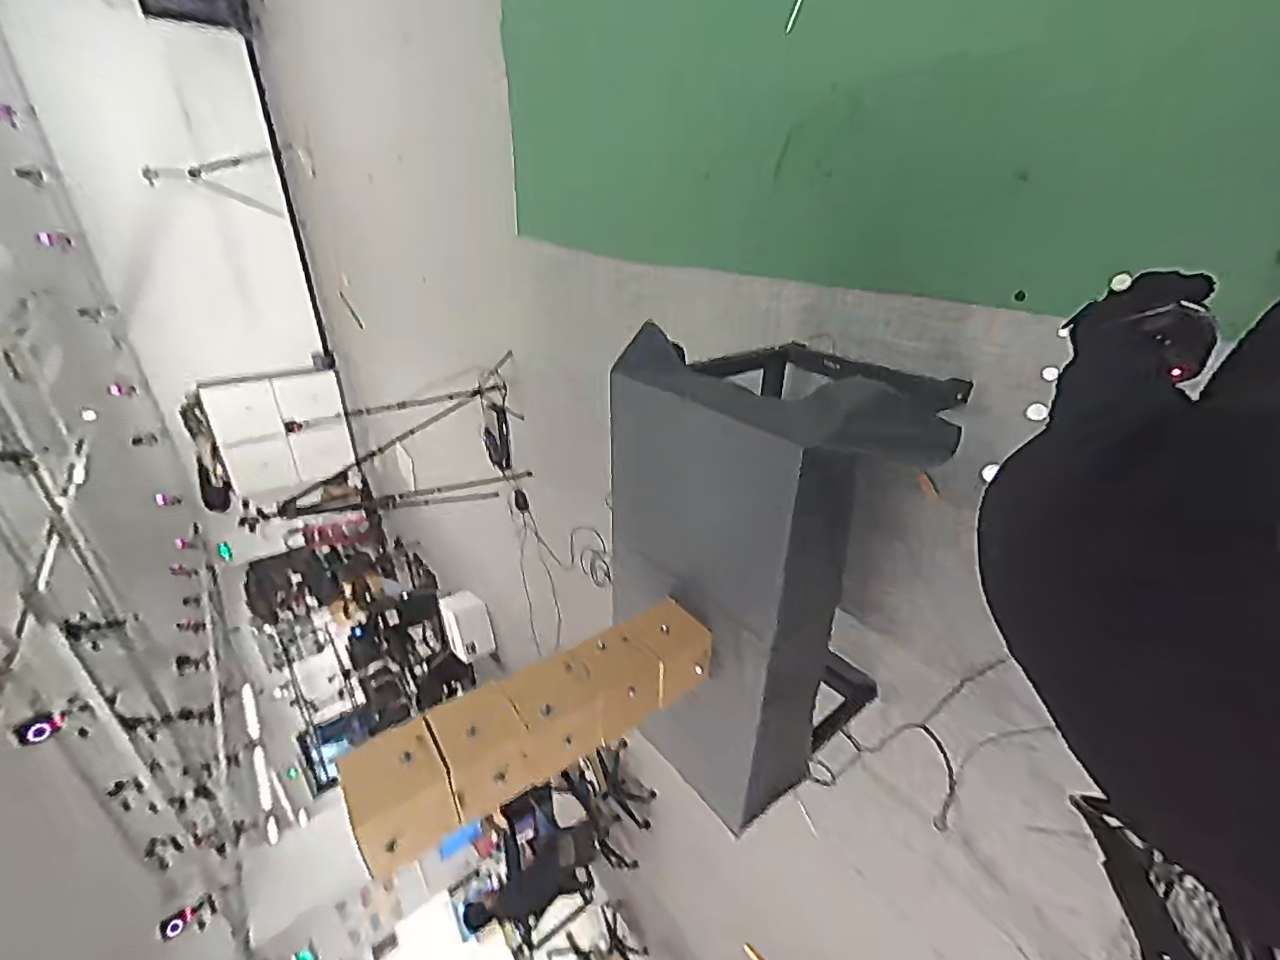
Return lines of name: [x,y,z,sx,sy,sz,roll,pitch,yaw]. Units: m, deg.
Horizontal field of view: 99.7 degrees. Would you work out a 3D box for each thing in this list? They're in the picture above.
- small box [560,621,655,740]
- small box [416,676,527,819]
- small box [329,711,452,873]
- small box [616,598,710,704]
small box: [-0.076,0.473,1.307,0.168,0.176,0.179,30,129,46]
small box: [-0.347,0.553,1.142,0.179,0.176,0.168,31,129,45]
small box: [-0.477,0.595,1.048,0.168,0.176,0.179,32,131,45]
small box: [0.054,0.427,1.393,0.179,0.176,0.168,31,130,43]
